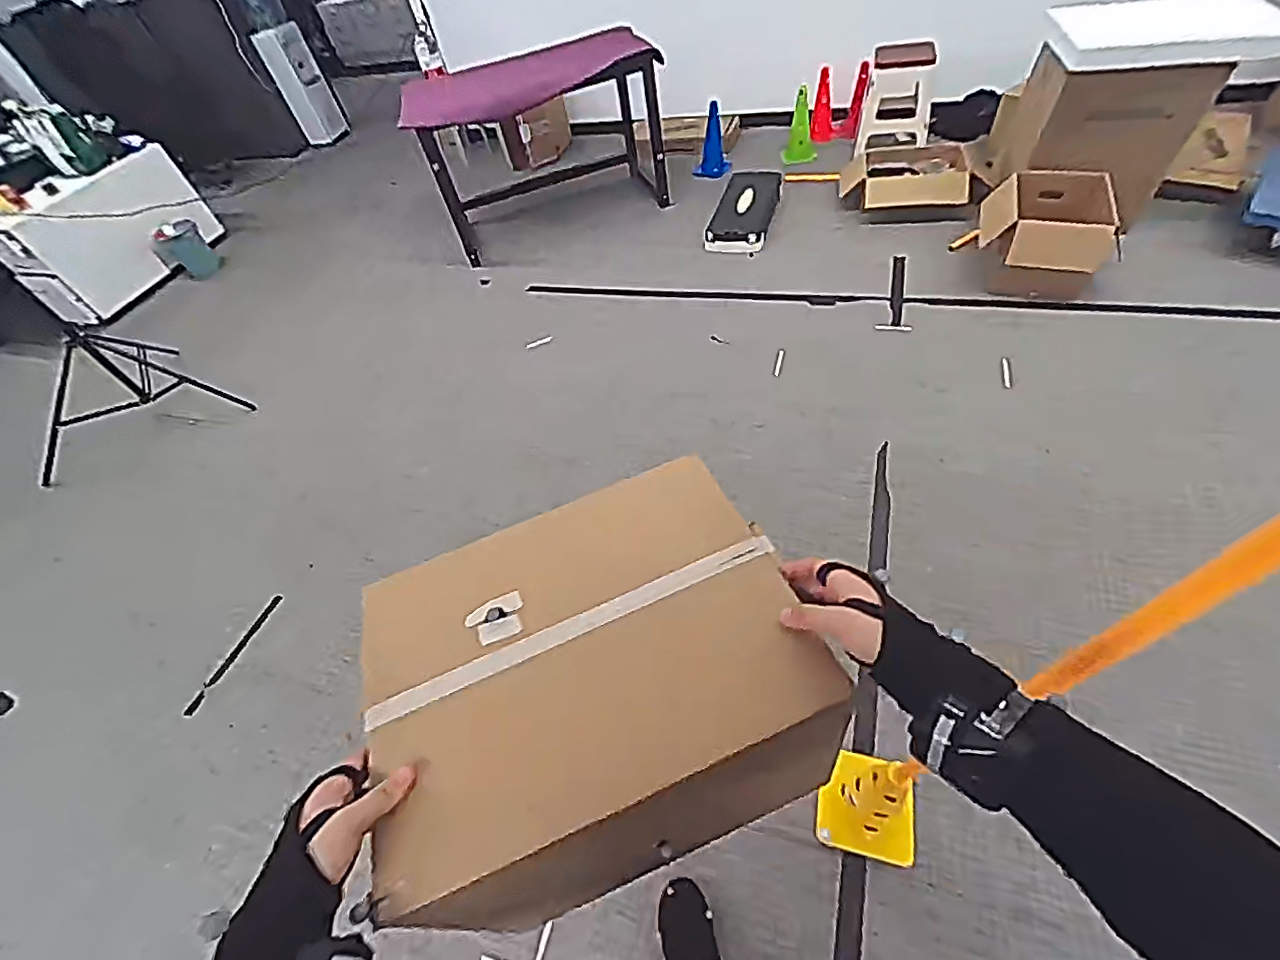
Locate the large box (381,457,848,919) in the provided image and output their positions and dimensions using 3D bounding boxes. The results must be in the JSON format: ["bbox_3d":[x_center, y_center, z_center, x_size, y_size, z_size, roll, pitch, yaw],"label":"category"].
[{"bbox_3d":[-0.027,0.244,0.639,0.408,0.320,0.320,-24,47,-5],"label":"large box"}]
